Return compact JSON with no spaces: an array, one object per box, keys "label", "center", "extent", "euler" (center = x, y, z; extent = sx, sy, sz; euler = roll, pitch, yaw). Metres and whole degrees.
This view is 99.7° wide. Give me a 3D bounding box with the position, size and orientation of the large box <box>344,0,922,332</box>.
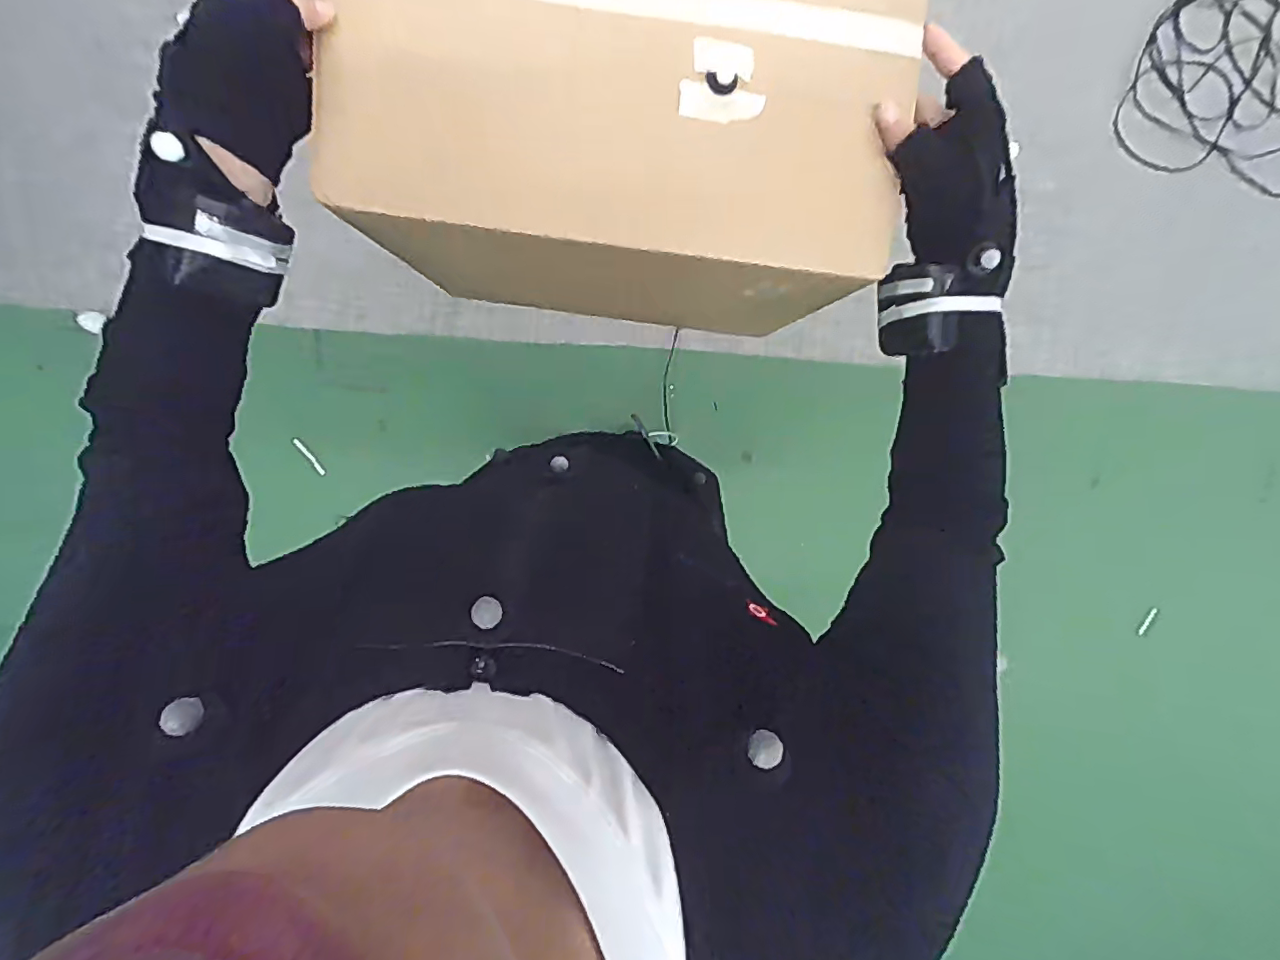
[{"label":"large box","center":[-0.009,-0.341,0.526],"extent":[0.408,0.320,0.320],"euler":[6,97,-4]}]
